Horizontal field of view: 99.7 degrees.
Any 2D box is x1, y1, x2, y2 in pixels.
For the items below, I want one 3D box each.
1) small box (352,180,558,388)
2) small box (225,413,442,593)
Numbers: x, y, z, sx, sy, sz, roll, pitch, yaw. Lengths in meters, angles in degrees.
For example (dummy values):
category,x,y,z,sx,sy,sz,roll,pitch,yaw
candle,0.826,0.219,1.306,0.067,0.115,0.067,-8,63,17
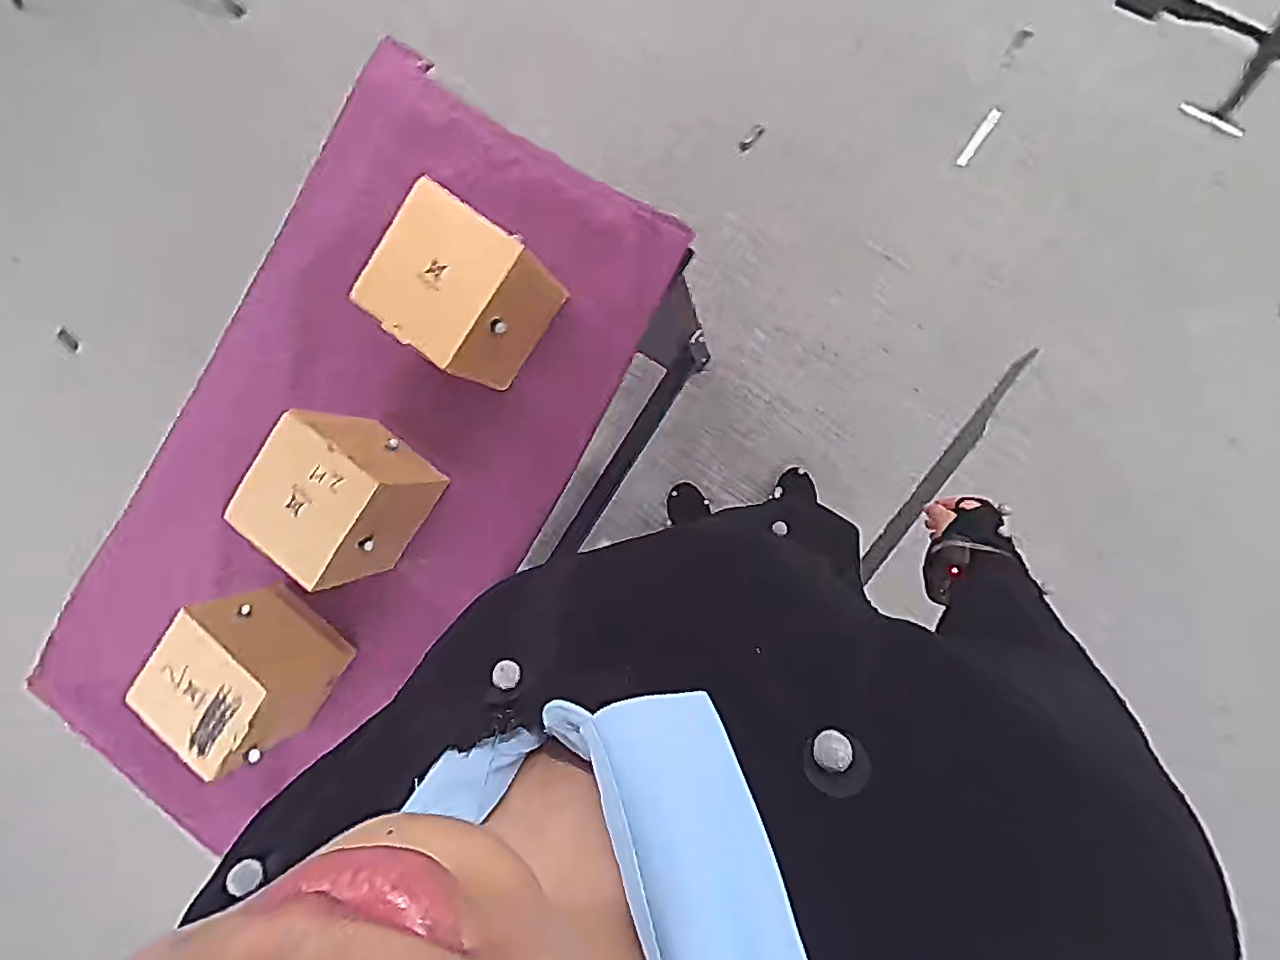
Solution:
category,x,y,z,sx,sy,sz,roll,pitch,yaw
small box,-0.231,-0.247,0.727,0.168,0.176,0.179,37,98,9
small box,-0.418,0.029,0.766,0.168,0.176,0.179,37,97,7
